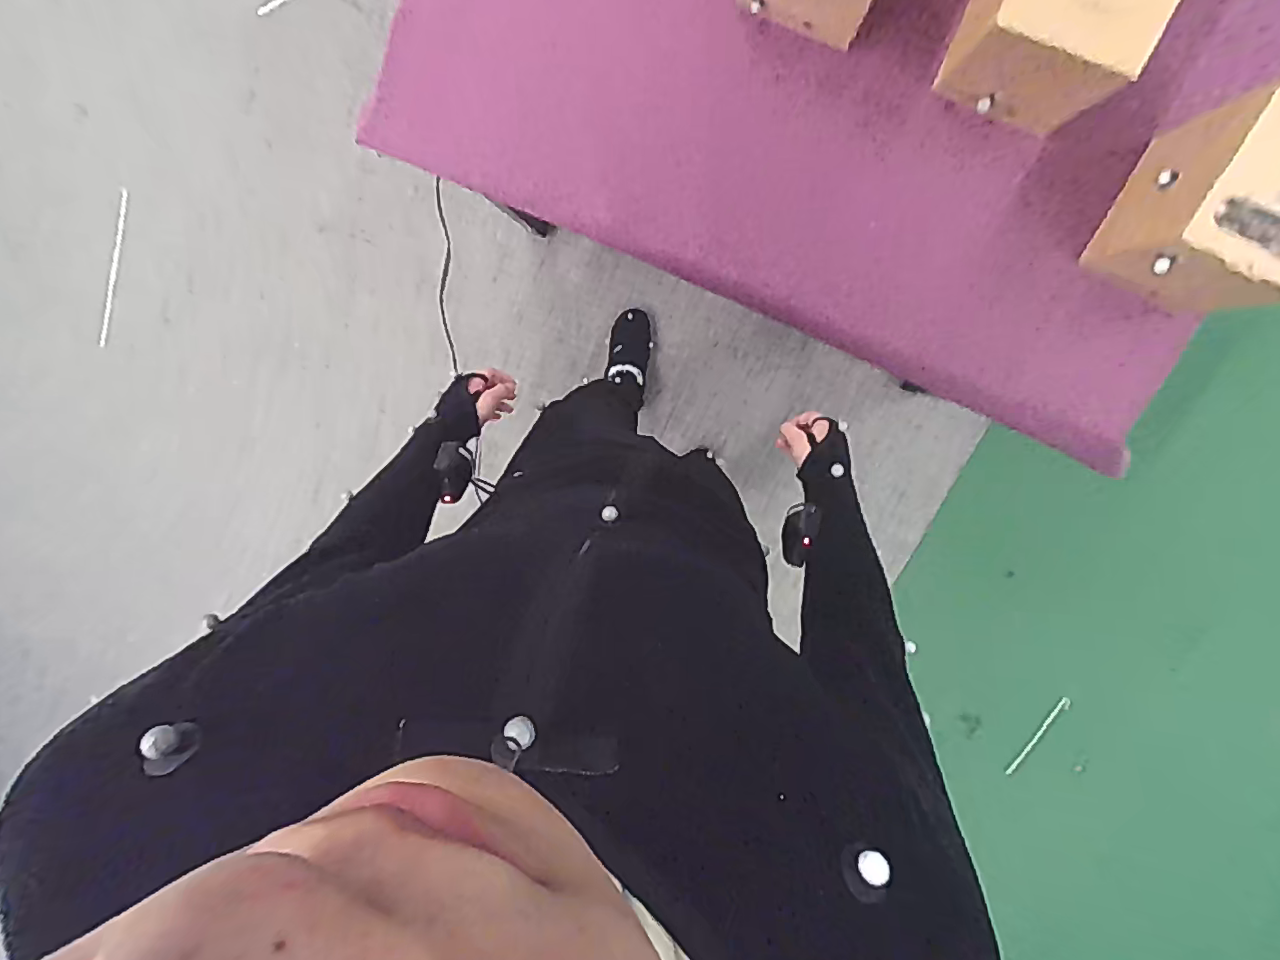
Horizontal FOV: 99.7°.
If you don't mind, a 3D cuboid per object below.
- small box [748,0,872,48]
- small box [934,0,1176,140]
[{"bbox_3d":[0.228,-0.663,0.630,0.168,0.176,0.179,23,103,-1],"label":"small box"},{"bbox_3d":[0.488,-0.550,0.639,0.168,0.176,0.179,23,104,0],"label":"small box"}]
